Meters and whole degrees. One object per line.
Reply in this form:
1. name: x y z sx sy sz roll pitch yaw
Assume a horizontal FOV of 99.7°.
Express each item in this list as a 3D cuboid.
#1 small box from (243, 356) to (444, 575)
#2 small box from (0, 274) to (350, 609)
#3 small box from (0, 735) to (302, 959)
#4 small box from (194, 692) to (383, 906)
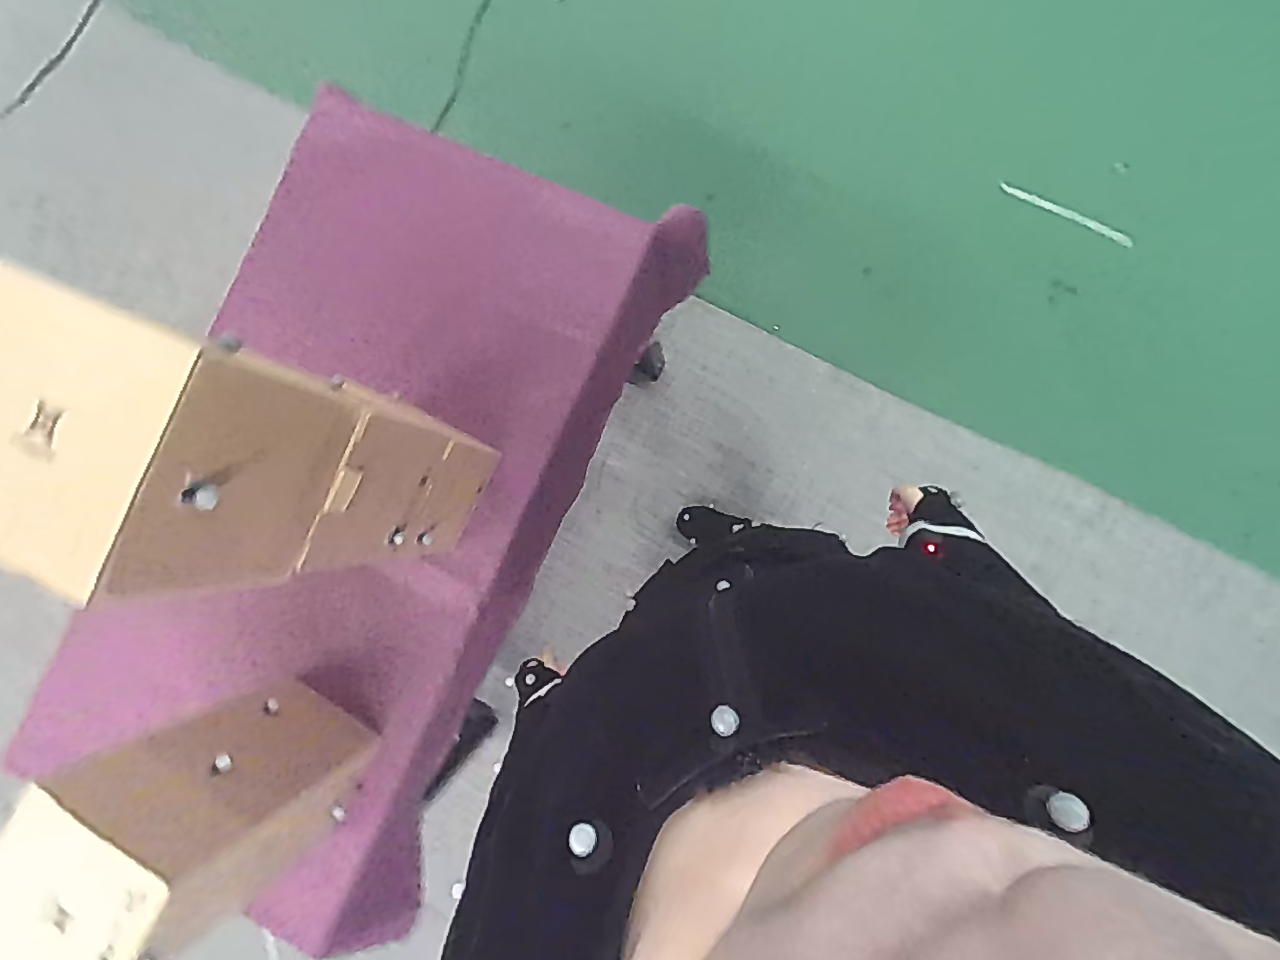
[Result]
1. small box: -0.349 -0.013 0.589 0.179 0.176 0.168 23 88 9
2. small box: -0.369 -0.024 0.428 0.168 0.176 0.179 22 89 8
3. small box: -0.518 0.403 0.574 0.179 0.176 0.168 29 91 8
4. small box: -0.500 0.415 0.738 0.179 0.176 0.168 29 90 7
